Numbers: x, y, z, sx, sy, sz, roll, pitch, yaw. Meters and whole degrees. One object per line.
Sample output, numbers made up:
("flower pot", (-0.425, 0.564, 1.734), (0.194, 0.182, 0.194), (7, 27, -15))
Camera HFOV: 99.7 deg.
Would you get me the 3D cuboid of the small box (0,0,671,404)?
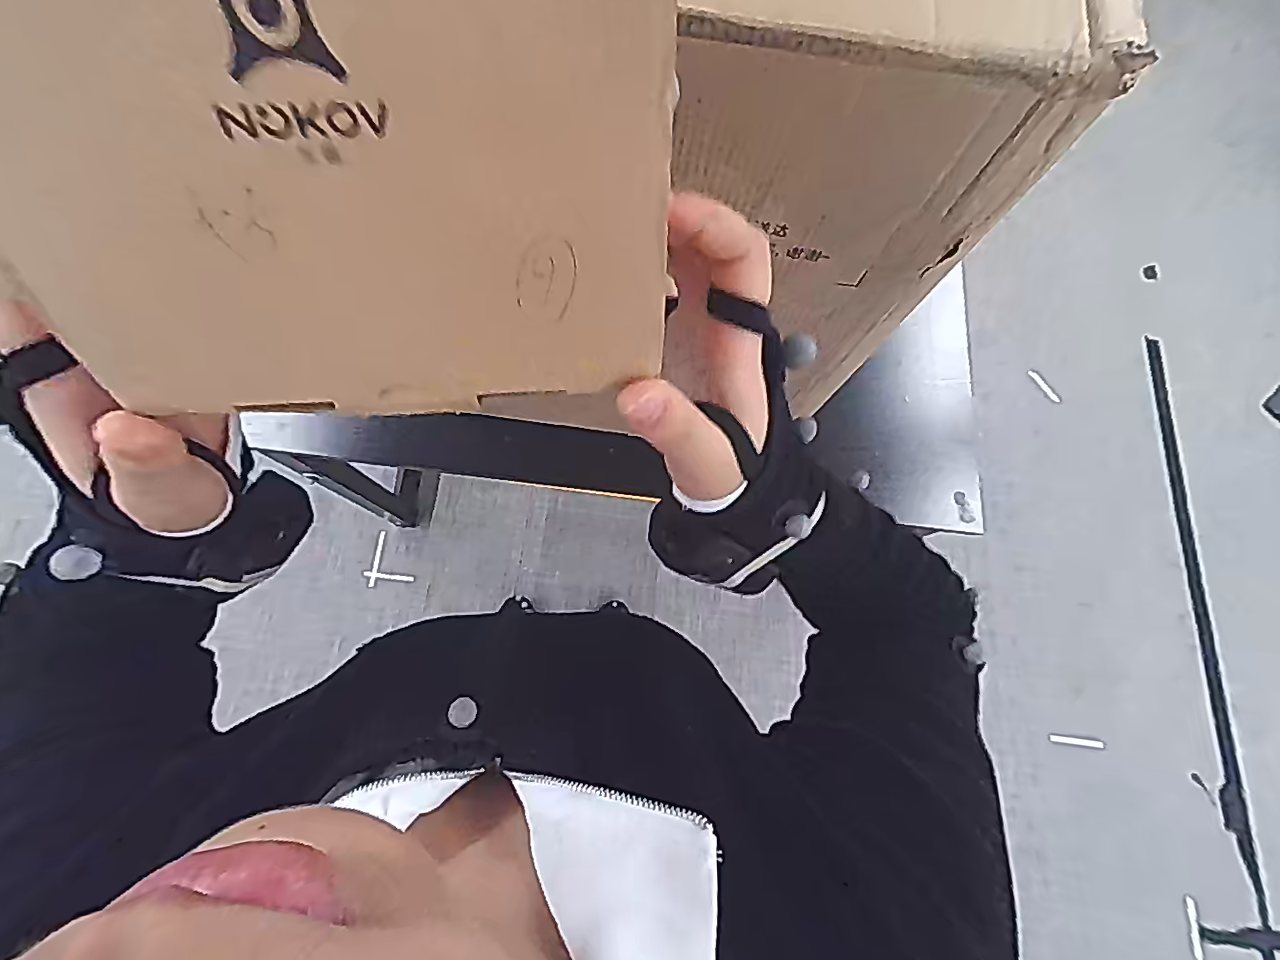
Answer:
("small box", (-0.082, -0.145, 0.173), (0.168, 0.179, 0.176), (-3, 45, -5))
